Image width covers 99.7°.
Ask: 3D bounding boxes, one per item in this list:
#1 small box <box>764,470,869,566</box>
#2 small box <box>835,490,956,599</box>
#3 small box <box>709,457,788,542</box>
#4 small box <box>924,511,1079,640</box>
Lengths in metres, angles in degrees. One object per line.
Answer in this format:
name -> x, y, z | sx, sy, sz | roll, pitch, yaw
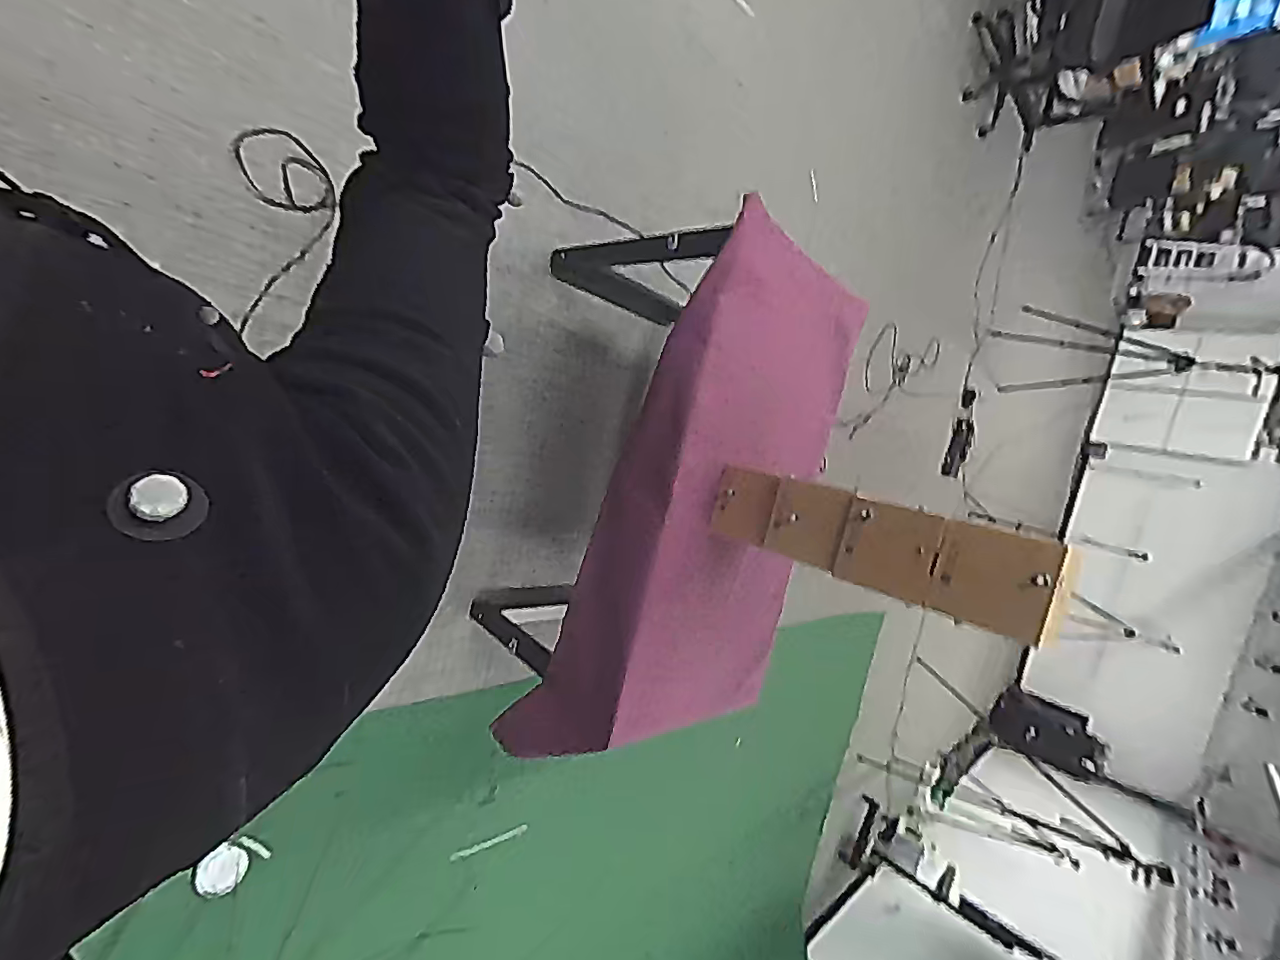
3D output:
small box -> 0.396, 0.081, 1.154 | 0.179, 0.176, 0.168 | 12, 94, -45
small box -> 0.499, 0.121, 1.032 | 0.179, 0.176, 0.168 | 13, 94, -46
small box -> 0.295, 0.051, 1.280 | 0.179, 0.176, 0.168 | 14, 93, -45
small box -> 0.613, 0.158, 0.920 | 0.179, 0.176, 0.168 | 15, 92, -46
